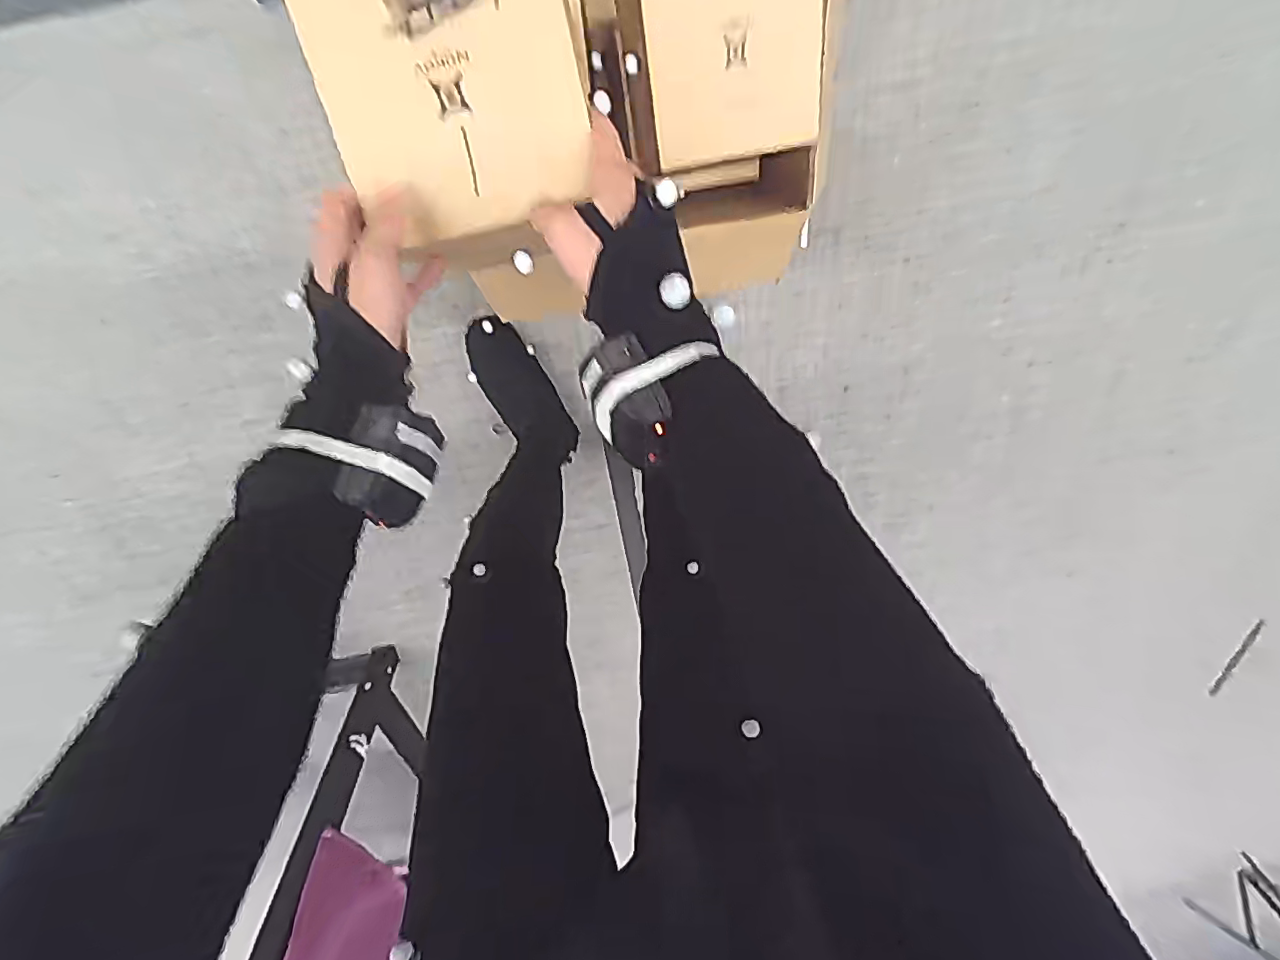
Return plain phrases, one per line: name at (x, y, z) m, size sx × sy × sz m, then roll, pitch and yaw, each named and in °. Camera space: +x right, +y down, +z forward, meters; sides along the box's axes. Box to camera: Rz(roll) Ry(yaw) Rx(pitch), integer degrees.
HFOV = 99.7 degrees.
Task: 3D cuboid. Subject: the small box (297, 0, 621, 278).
small box at (-0.114, -0.268, 0.418) m, size 0.168 × 0.176 × 0.179 m, roll -12°, pitch 107°, yaw 5°
